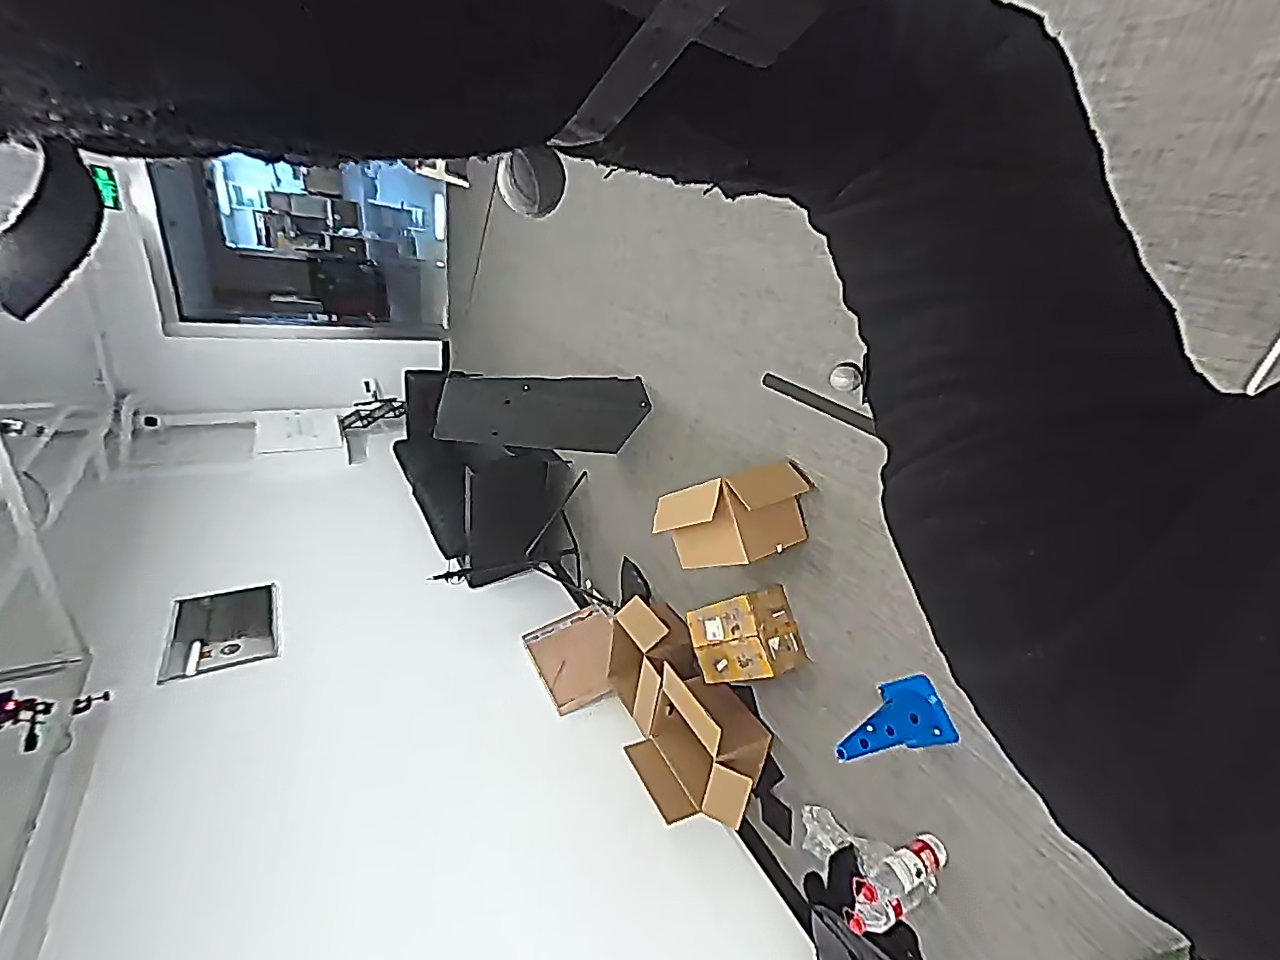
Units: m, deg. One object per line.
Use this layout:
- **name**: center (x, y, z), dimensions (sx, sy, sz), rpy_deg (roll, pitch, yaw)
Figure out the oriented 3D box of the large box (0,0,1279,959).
- **large box**: center (0.098, 0.063, 0.148), dimensions (0.320, 0.320, 0.408), rpy_deg (-47, -145, -18)
